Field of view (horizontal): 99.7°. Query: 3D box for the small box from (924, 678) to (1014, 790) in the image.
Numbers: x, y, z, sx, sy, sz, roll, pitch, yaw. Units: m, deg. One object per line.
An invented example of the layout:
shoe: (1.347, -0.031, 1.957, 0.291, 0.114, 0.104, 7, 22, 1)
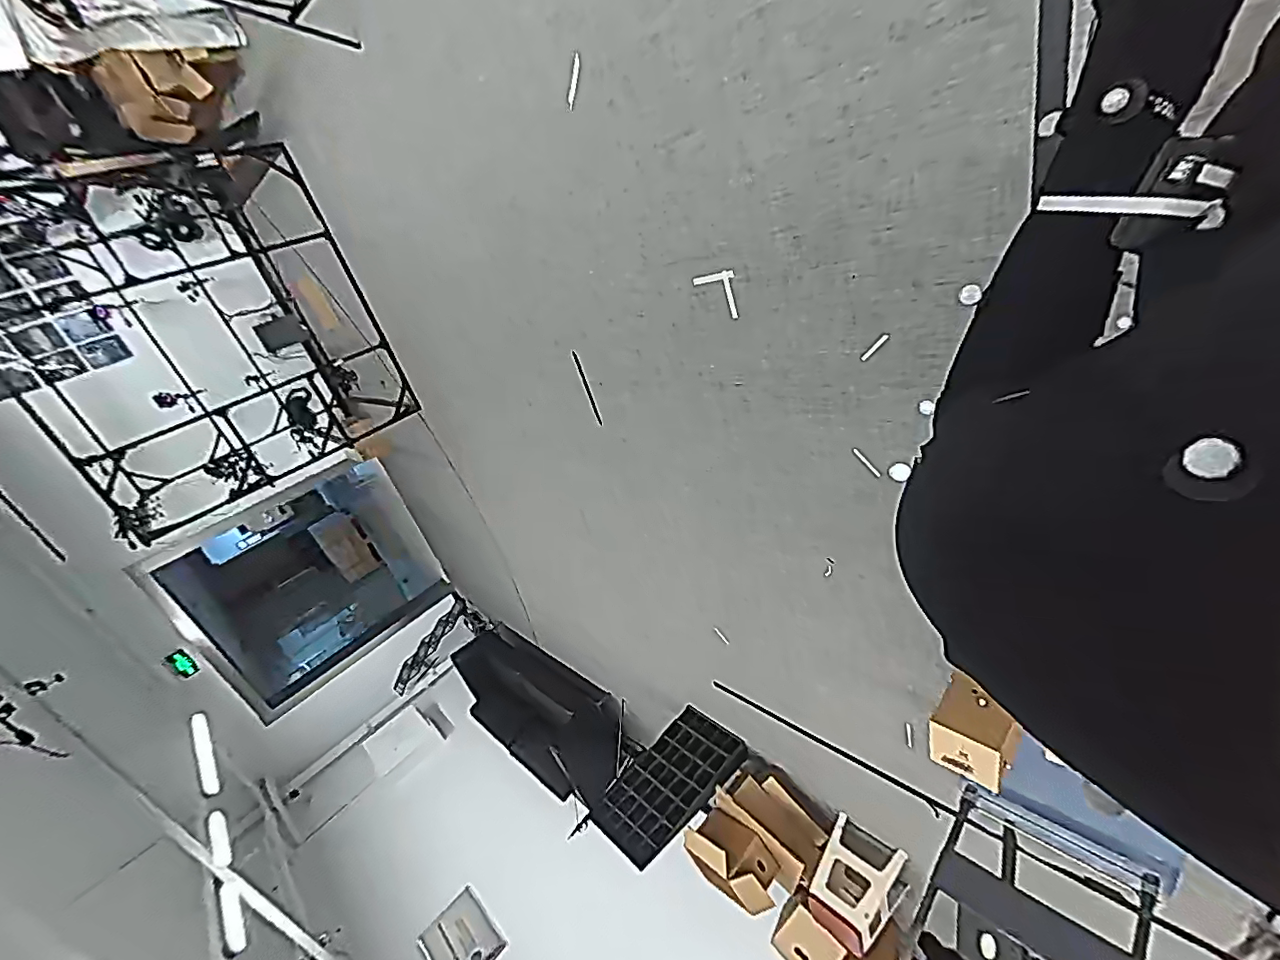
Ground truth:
small box: (0.884, 0.675, 1.453, 0.168, 0.176, 0.179, 15, 131, 45)
